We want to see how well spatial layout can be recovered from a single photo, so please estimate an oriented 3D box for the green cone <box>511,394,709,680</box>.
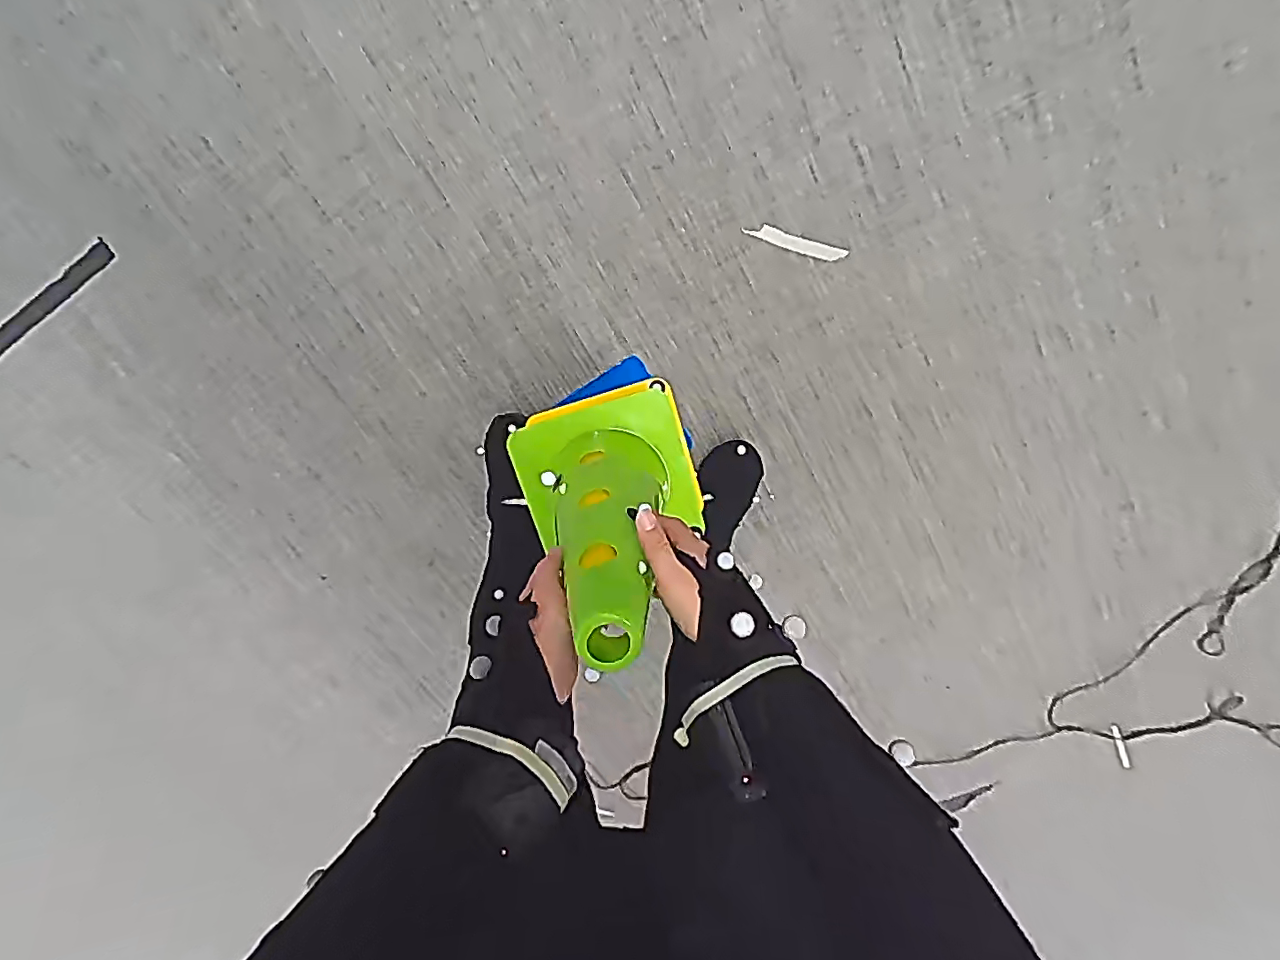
[{"bbox_3d":[-0.027,0.052,0.482,0.202,0.368,0.200,-18,103,2],"label":"green cone"}]
